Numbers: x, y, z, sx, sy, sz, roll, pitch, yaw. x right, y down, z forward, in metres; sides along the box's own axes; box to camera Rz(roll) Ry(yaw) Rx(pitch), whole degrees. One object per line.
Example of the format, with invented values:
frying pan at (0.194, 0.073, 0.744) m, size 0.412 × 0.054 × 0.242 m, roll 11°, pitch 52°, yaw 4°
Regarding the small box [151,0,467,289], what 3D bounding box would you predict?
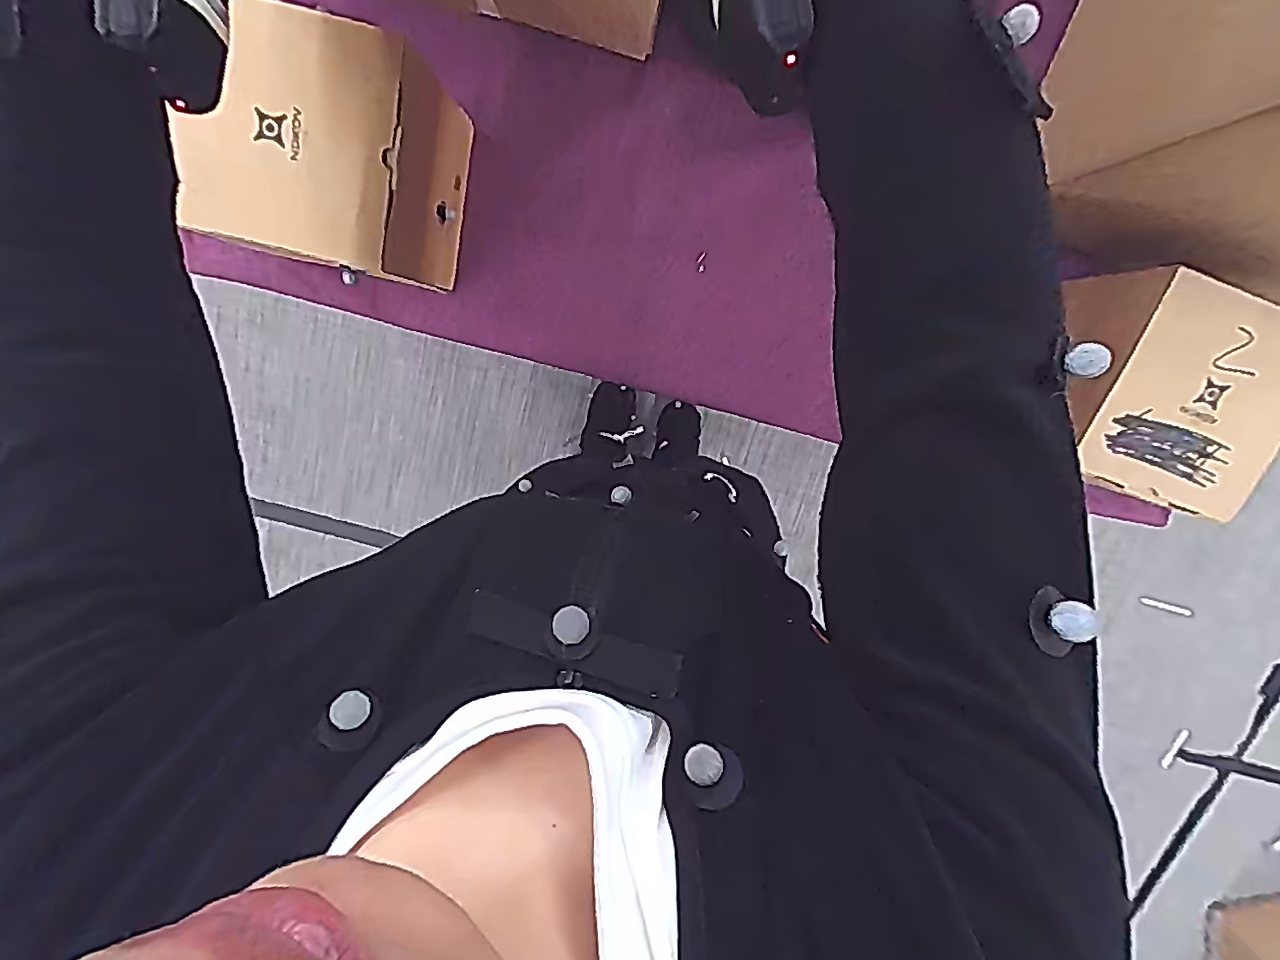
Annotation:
small box at (-0.272, -0.275, 0.478) m, size 0.179 × 0.176 × 0.168 m, roll 11°, pitch 103°, yaw -5°
